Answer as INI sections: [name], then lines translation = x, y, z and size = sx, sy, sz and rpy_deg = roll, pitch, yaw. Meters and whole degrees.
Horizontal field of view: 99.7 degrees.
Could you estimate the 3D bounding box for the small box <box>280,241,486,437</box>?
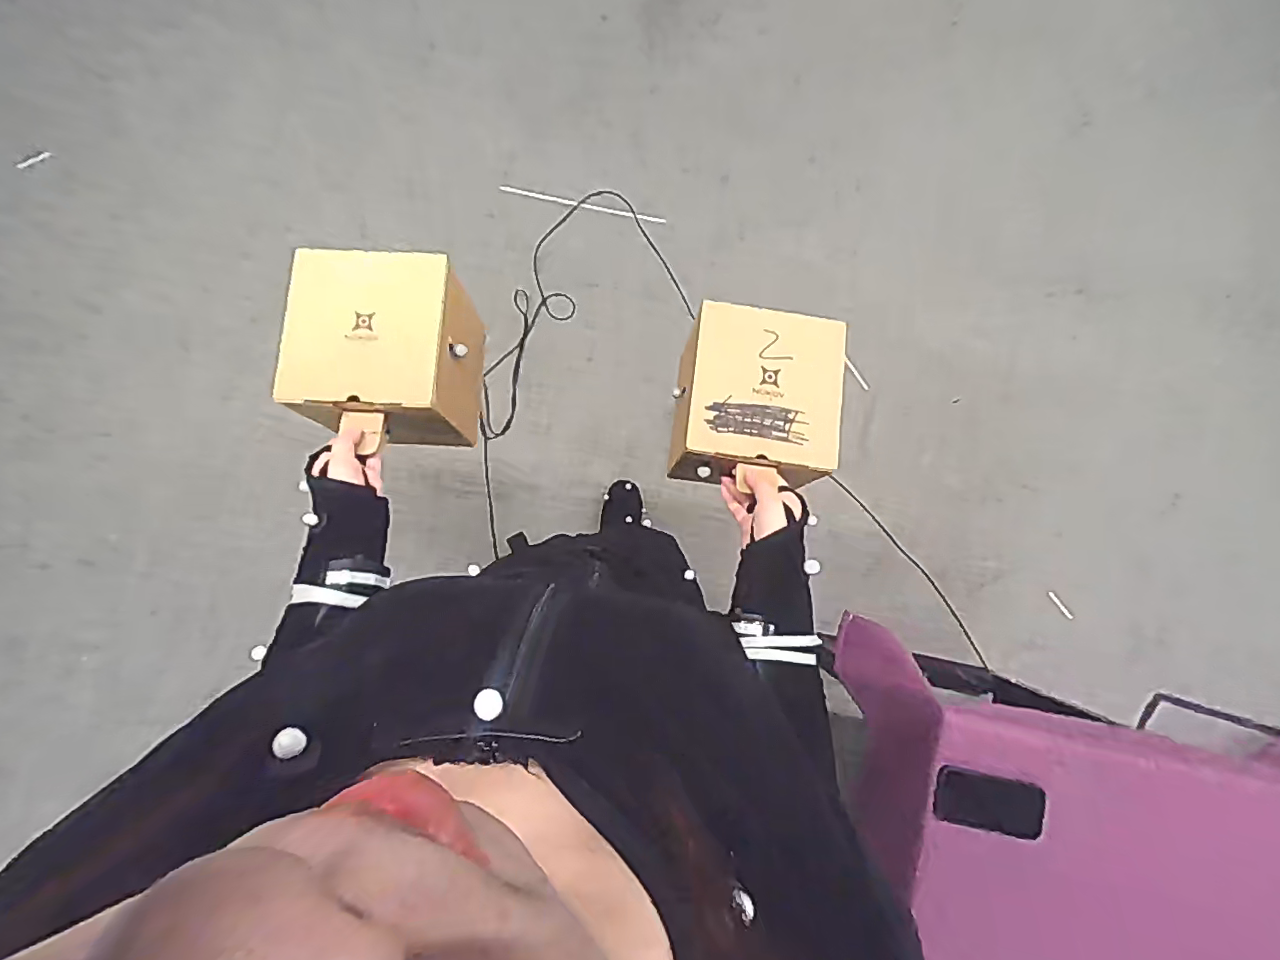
[small box]
translation = -0.293, -0.160, 0.657
size = 0.168, 0.176, 0.179
rpy_deg = 2, 81, -1
